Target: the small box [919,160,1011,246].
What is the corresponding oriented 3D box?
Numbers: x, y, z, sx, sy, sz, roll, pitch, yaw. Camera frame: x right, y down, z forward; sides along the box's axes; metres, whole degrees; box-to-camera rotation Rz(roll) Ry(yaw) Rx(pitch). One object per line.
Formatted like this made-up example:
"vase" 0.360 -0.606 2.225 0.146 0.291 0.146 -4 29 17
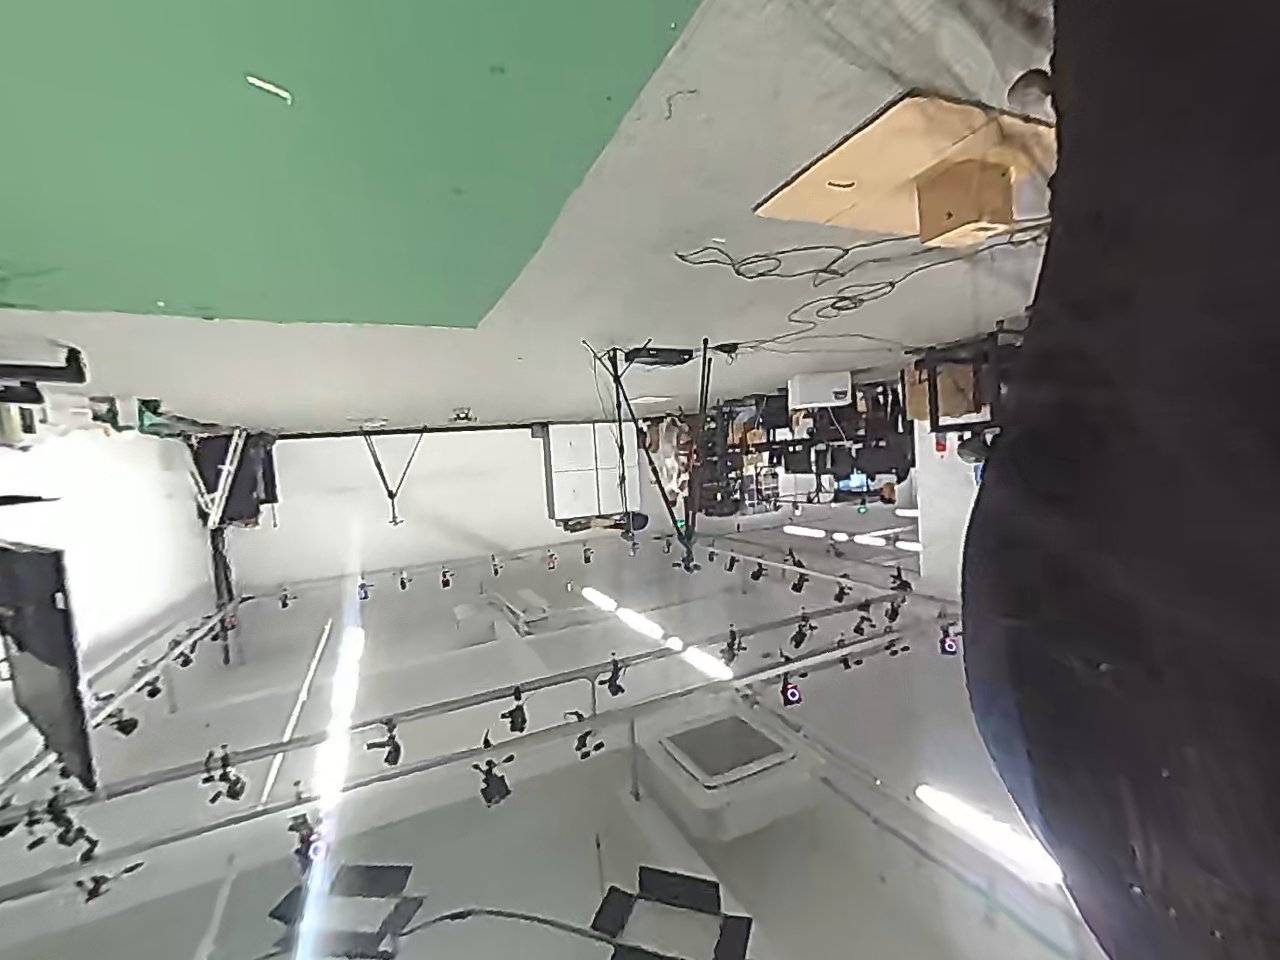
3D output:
"small box" 0.948 -0.810 1.589 0.168 0.176 0.179 -6 -177 -21
